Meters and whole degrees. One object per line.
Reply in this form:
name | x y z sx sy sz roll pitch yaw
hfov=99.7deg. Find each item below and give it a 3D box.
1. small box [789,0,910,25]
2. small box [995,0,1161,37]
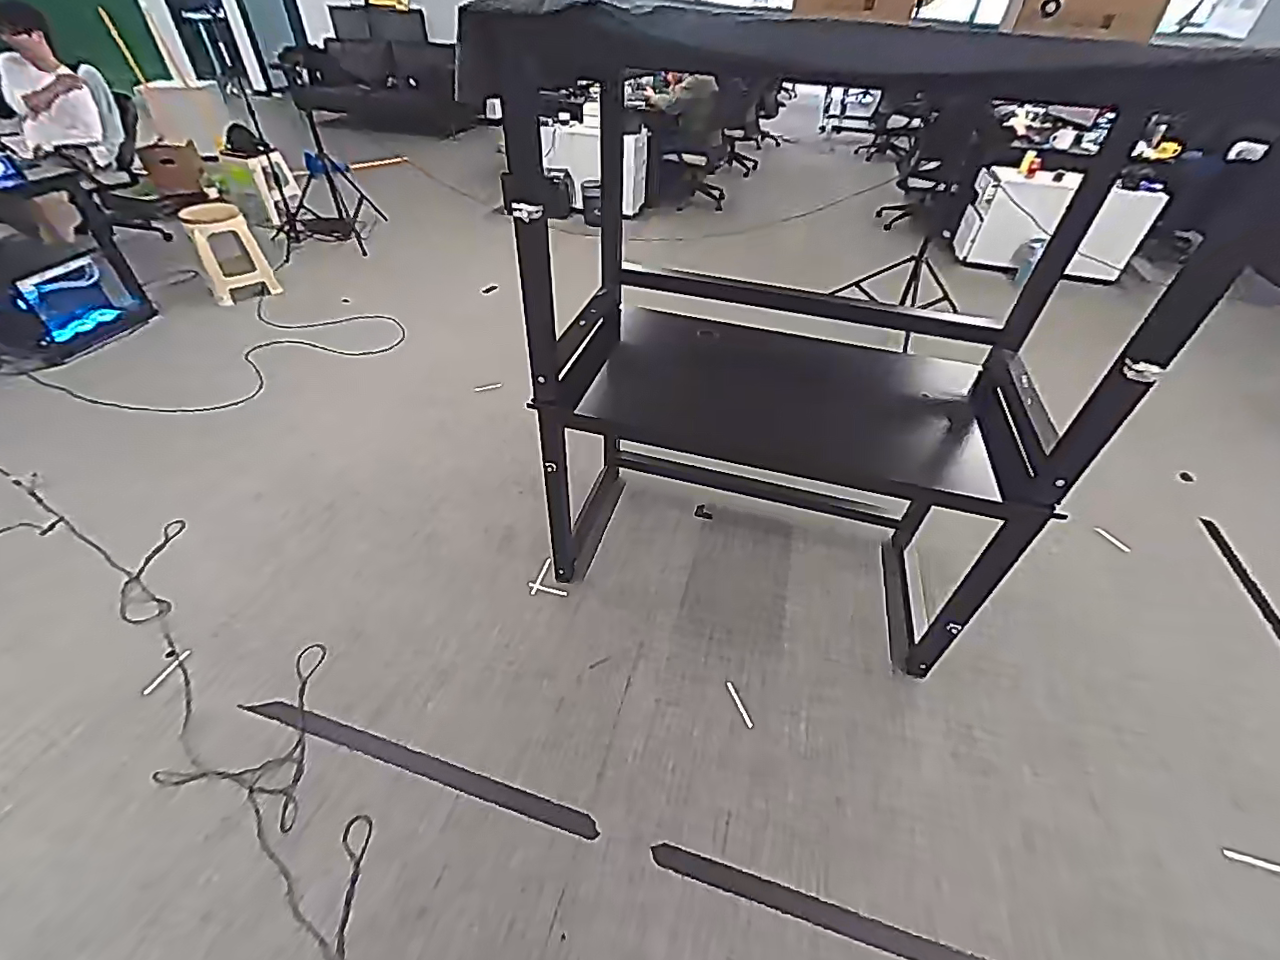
small box | 0.317 -0.764 0.767 0.168 0.176 0.179 13 41 11
small box | 0.605 -0.702 0.719 0.168 0.176 0.179 15 42 13
